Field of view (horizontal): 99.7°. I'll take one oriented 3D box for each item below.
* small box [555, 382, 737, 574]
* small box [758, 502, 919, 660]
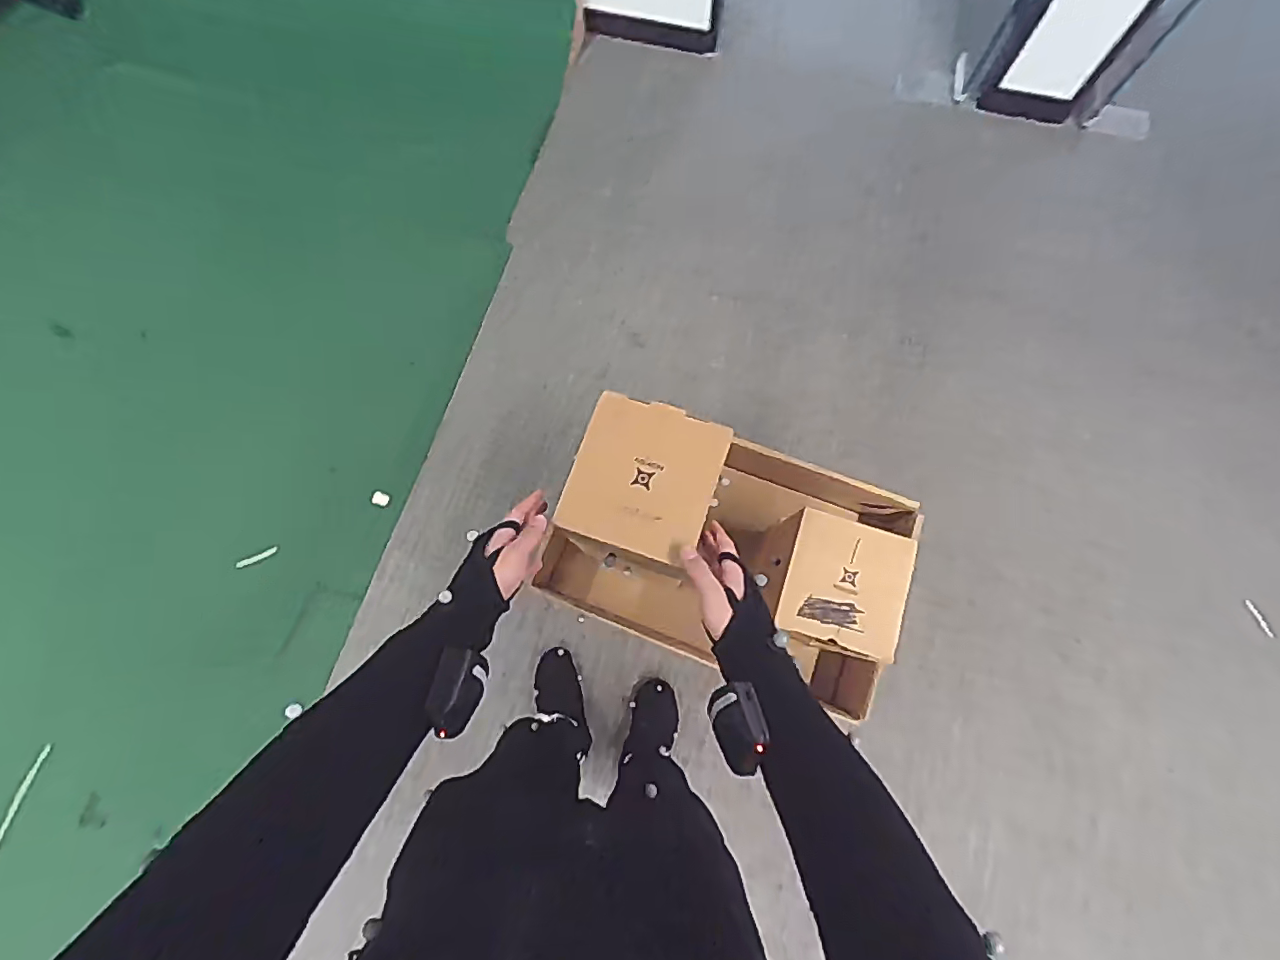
[{"bbox_3d":[0.010,0.008,0.693,0.168,0.176,0.179,19,77,7],"label":"small box"},{"bbox_3d":[0.287,0.153,0.818,0.168,0.176,0.179,18,77,6],"label":"small box"}]
